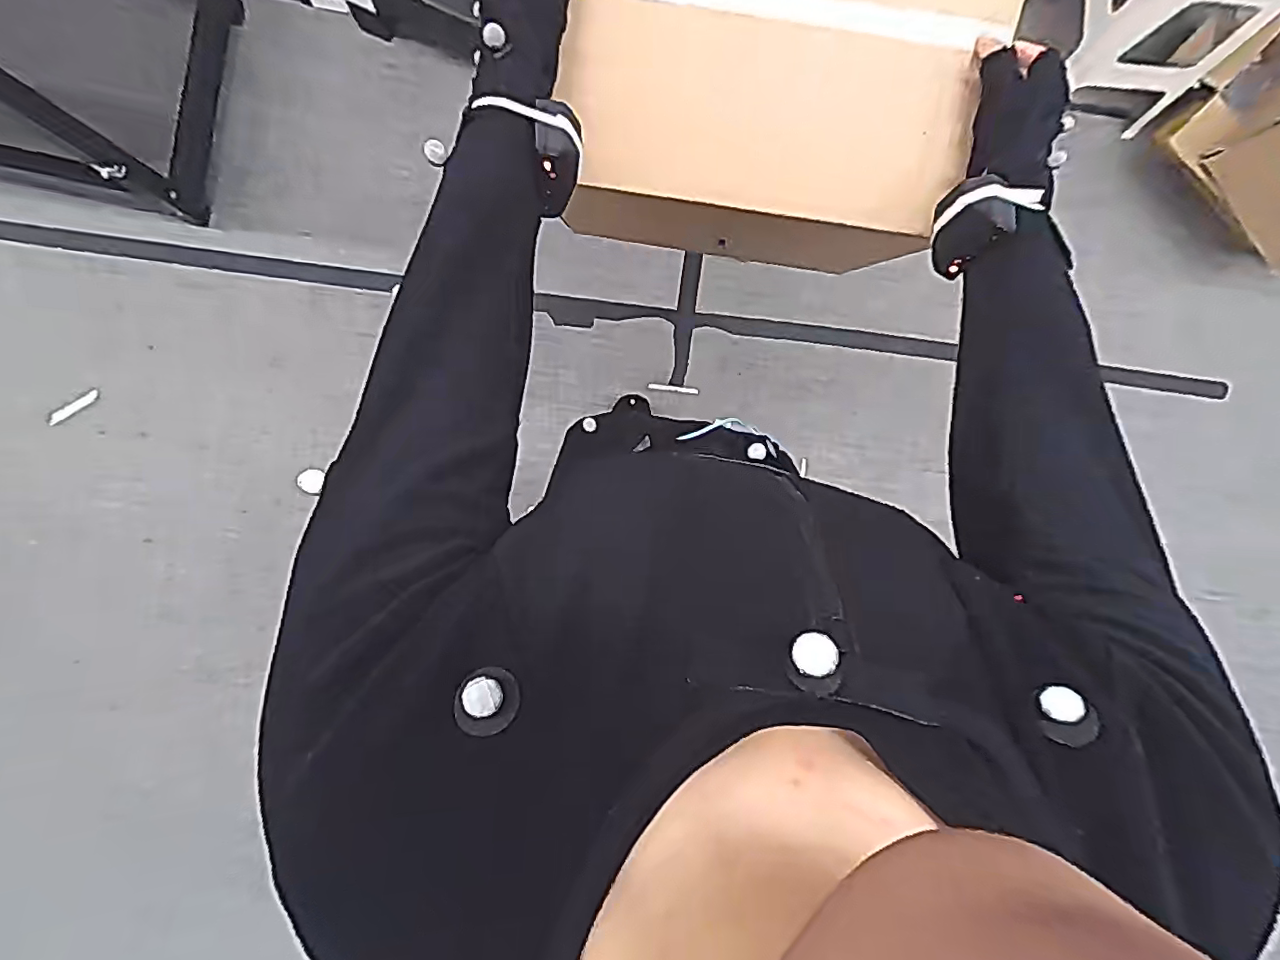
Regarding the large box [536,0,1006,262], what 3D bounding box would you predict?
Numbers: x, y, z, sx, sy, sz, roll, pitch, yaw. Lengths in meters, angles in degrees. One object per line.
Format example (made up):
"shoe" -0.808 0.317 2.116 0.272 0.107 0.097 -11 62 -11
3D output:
"large box" 0.119 -0.448 0.617 0.408 0.320 0.320 8 104 -2
